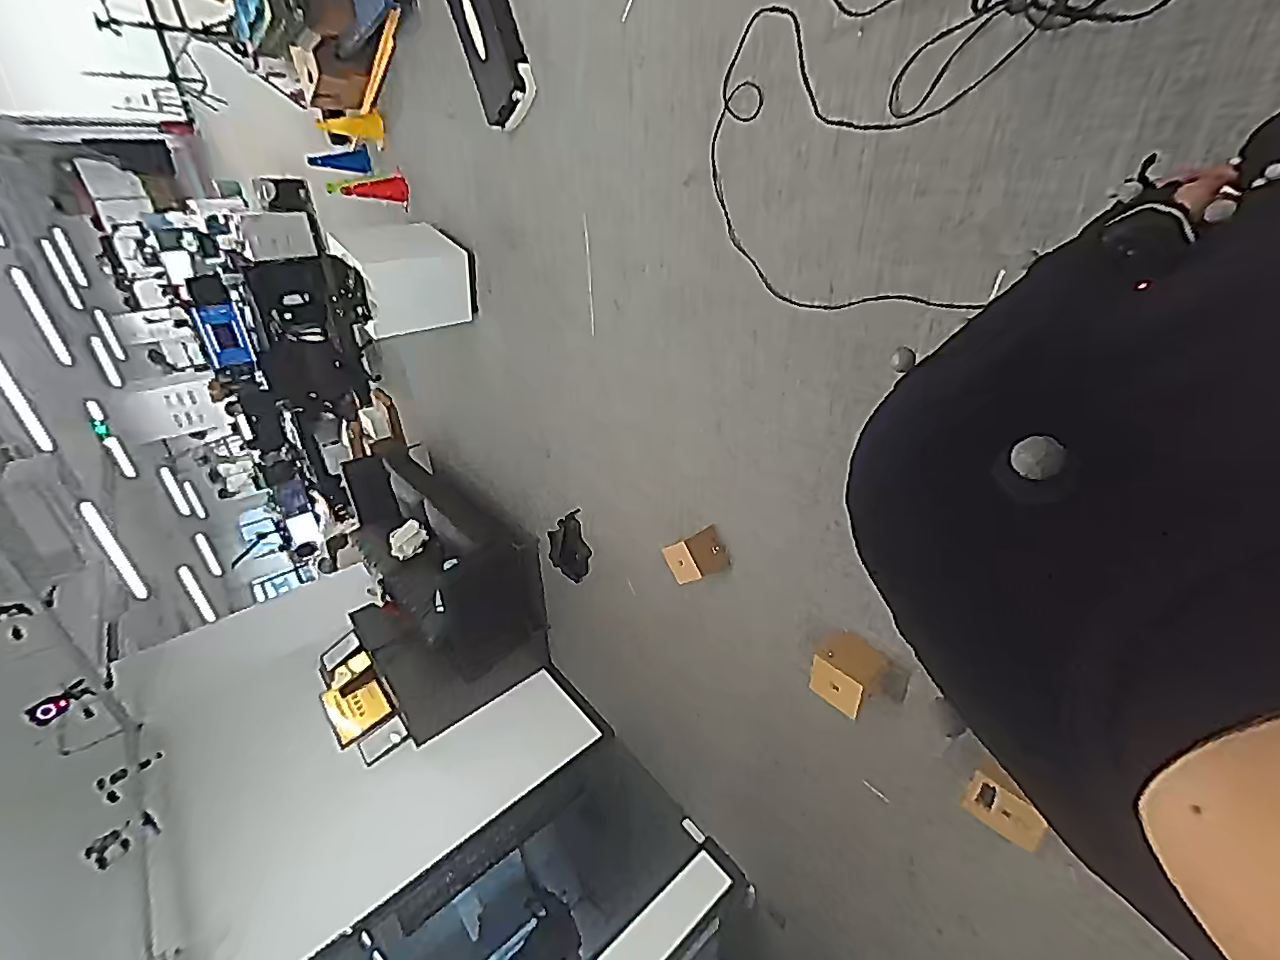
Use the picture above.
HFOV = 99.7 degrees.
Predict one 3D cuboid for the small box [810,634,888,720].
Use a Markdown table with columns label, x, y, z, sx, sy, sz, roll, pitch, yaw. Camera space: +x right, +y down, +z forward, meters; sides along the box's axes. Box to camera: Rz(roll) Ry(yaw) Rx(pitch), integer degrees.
| label | x | y | z | sx | sy | sz | roll | pitch | yaw |
| --- | --- | --- | --- | --- | --- | --- | --- | --- | --- |
| small box | 0.691 | 0.642 | 1.790 | 0.179 | 0.176 | 0.168 | 28 | 131 | 43 |

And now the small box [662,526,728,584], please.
| label | x | y | z | sx | sy | sz | roll | pitch | yaw |
| --- | --- | --- | --- | --- | --- | --- | --- | --- | --- |
| small box | 0.227 | 0.309 | 2.222 | 0.179 | 0.176 | 0.168 | -34 | 83 | 55 |
